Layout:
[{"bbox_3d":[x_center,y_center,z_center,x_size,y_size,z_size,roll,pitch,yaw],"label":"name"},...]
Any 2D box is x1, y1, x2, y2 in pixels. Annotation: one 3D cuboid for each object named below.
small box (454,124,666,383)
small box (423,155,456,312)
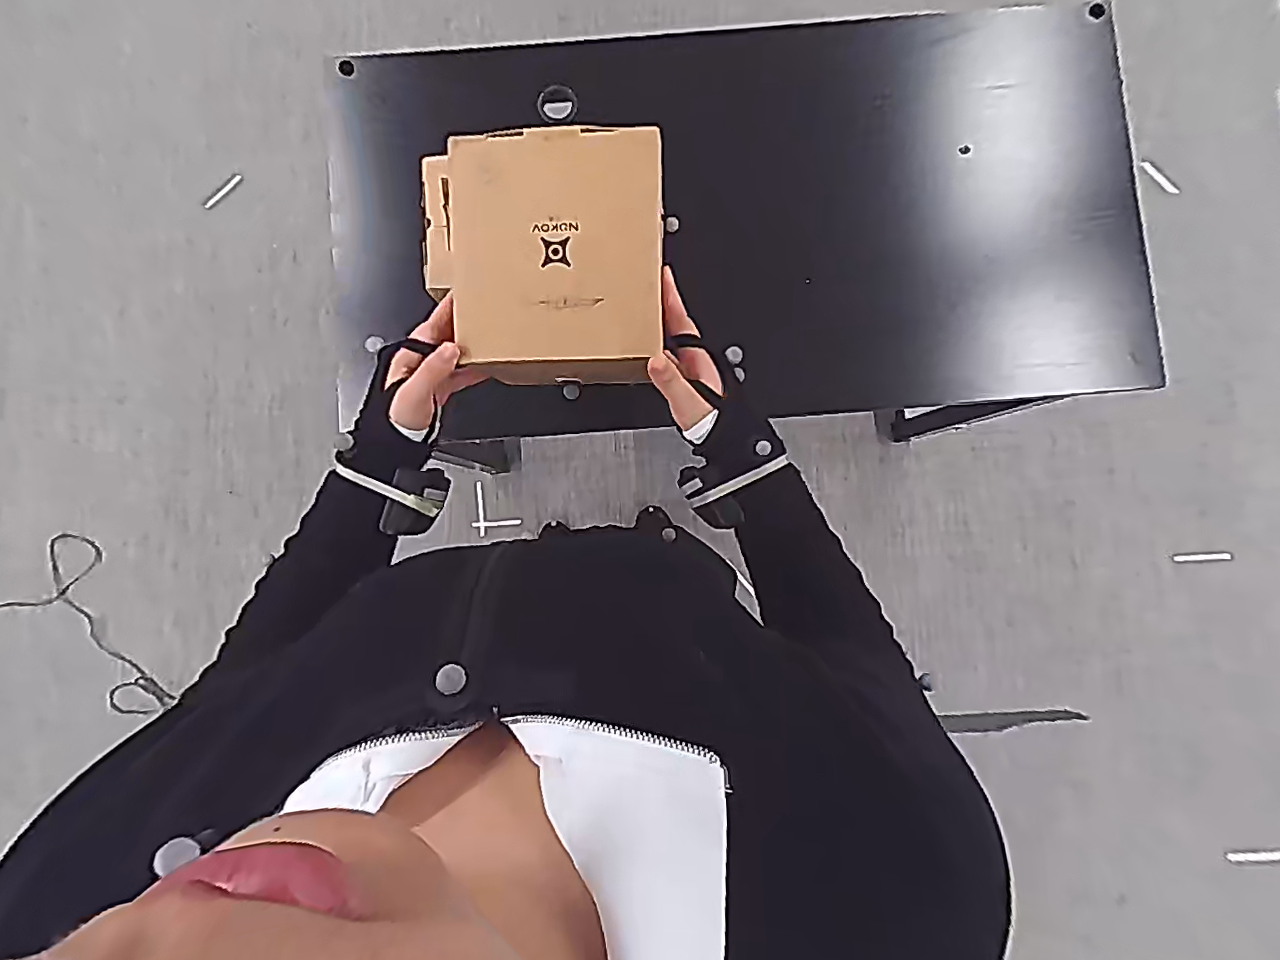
[{"bbox_3d":[-0.060,-0.189,0.498,0.168,0.176,0.179,-1,93,3],"label":"small box"},{"bbox_3d":[-0.172,-0.306,0.725,0.179,0.176,0.168,-3,86,-1],"label":"small box"}]
